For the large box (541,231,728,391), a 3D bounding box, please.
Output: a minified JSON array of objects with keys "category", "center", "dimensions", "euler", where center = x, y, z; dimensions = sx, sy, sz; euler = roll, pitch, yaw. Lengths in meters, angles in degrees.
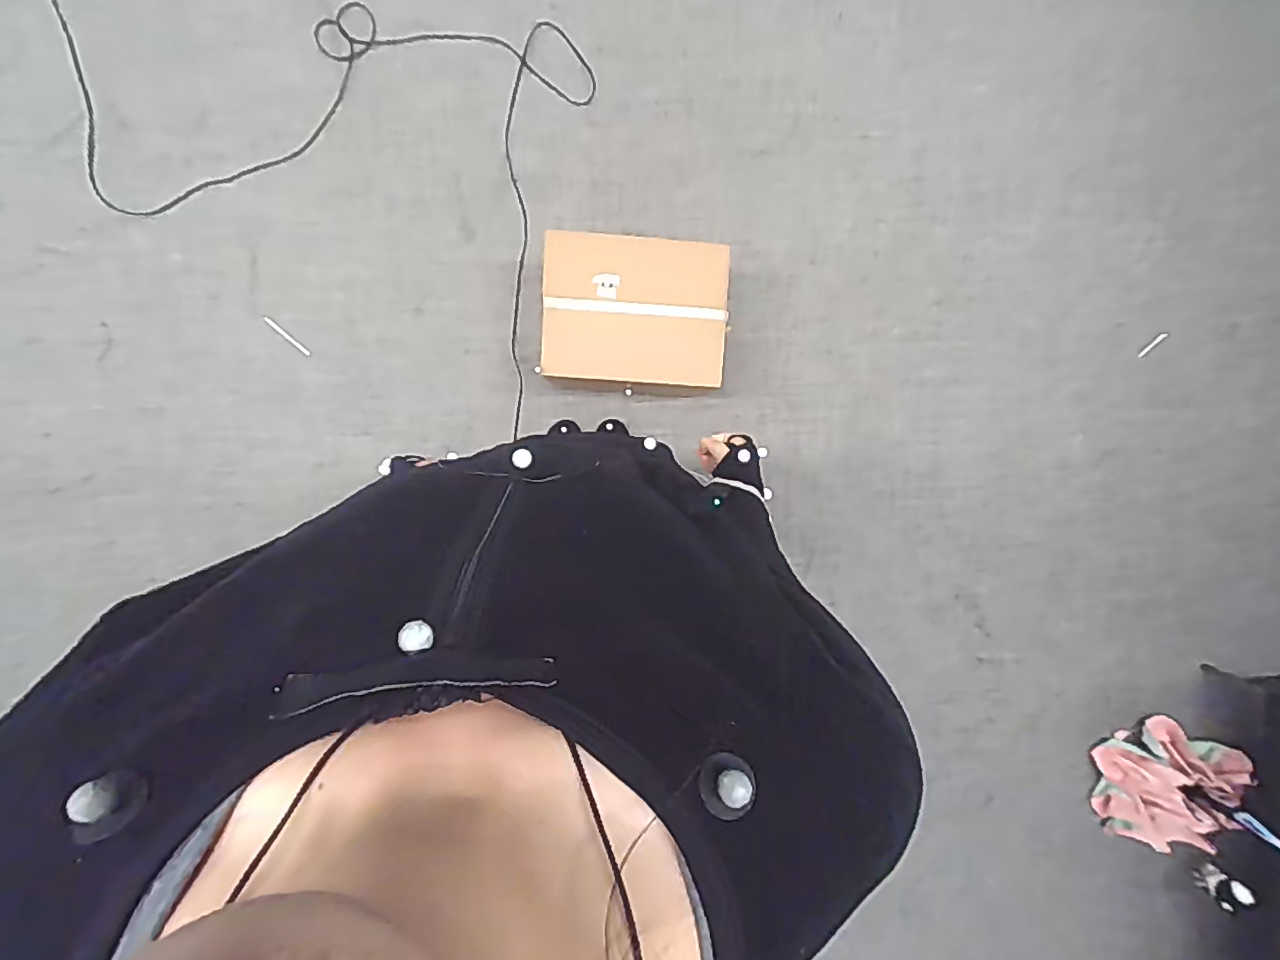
[{"category":"large box","center":[-0.017,-0.391,1.336],"dimensions":[0.408,0.320,0.320],"euler":[4,95,-3]}]
